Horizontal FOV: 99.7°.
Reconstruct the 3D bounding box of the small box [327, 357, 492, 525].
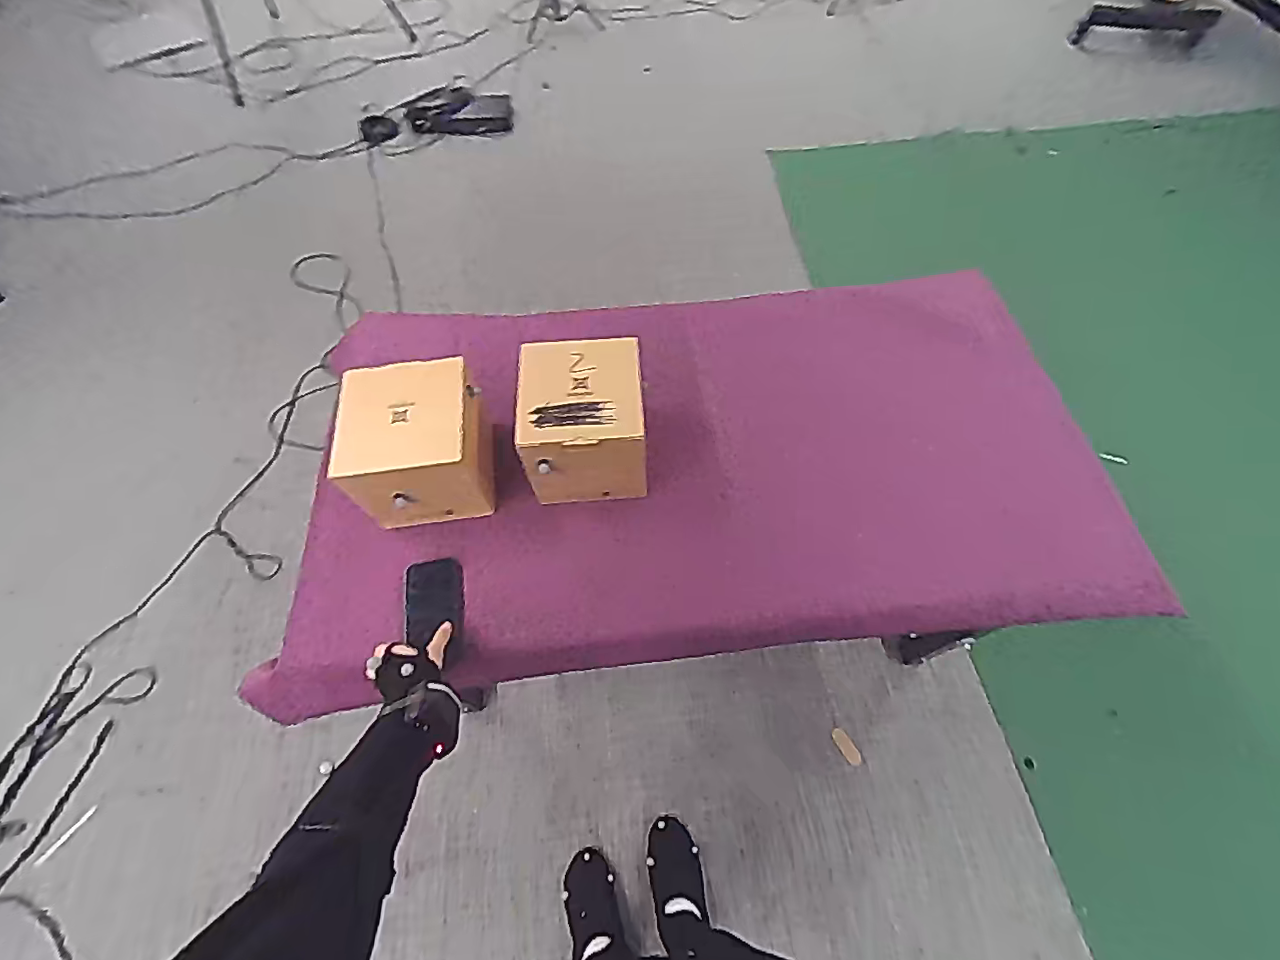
[{"bbox_3d":[-0.316,-0.047,0.779,0.168,0.176,0.179,-8,60,-3],"label":"small box"}]
